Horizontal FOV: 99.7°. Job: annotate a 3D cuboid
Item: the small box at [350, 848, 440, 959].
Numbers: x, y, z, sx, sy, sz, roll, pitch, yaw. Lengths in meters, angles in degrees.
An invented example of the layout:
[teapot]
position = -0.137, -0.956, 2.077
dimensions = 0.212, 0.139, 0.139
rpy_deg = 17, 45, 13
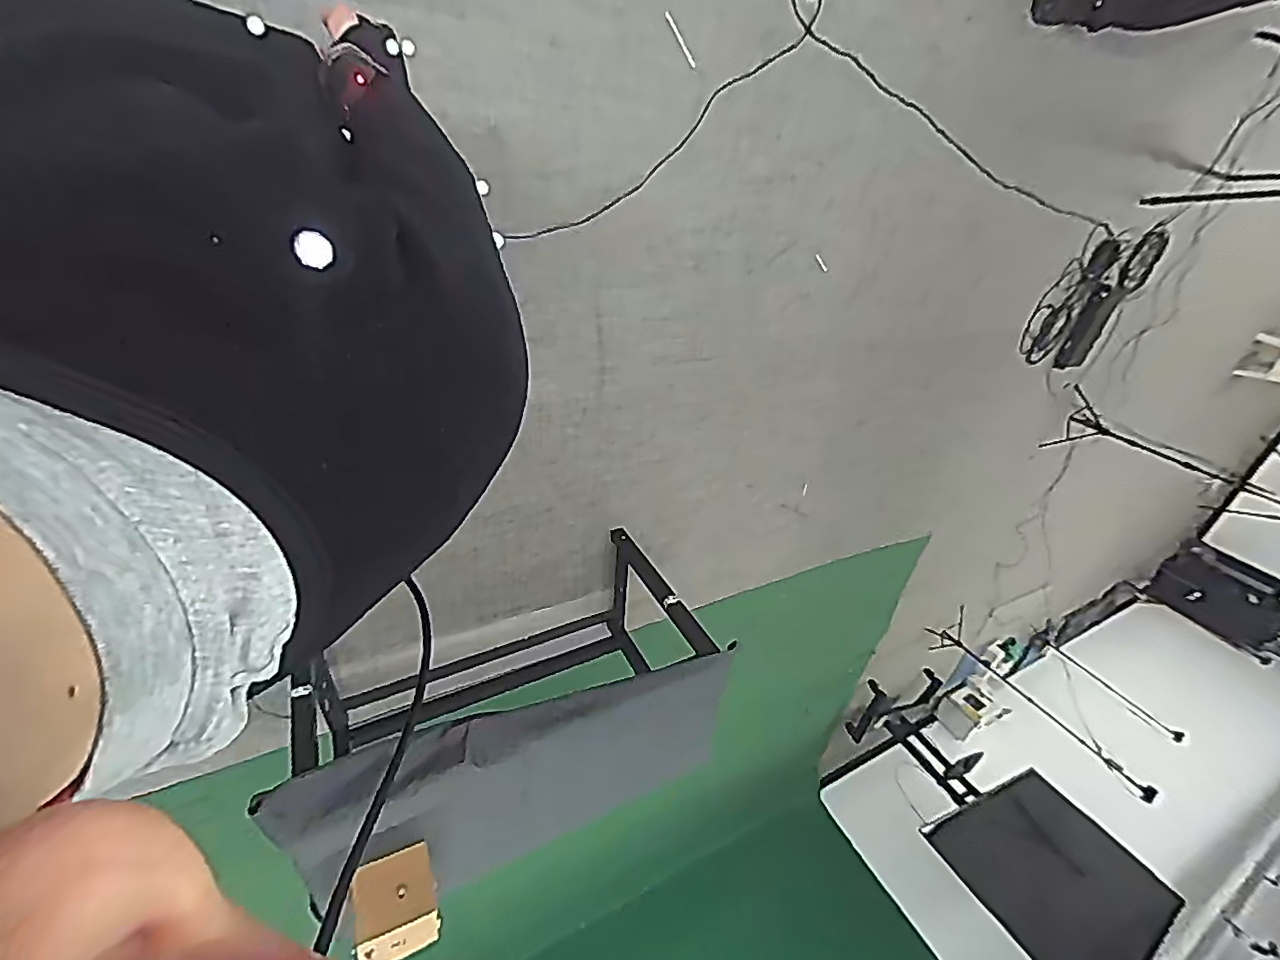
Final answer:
[small box]
position = -0.604, 1.059, 1.335
dimensions = 0.179, 0.176, 0.168
rpy_deg = -7, 123, -31
